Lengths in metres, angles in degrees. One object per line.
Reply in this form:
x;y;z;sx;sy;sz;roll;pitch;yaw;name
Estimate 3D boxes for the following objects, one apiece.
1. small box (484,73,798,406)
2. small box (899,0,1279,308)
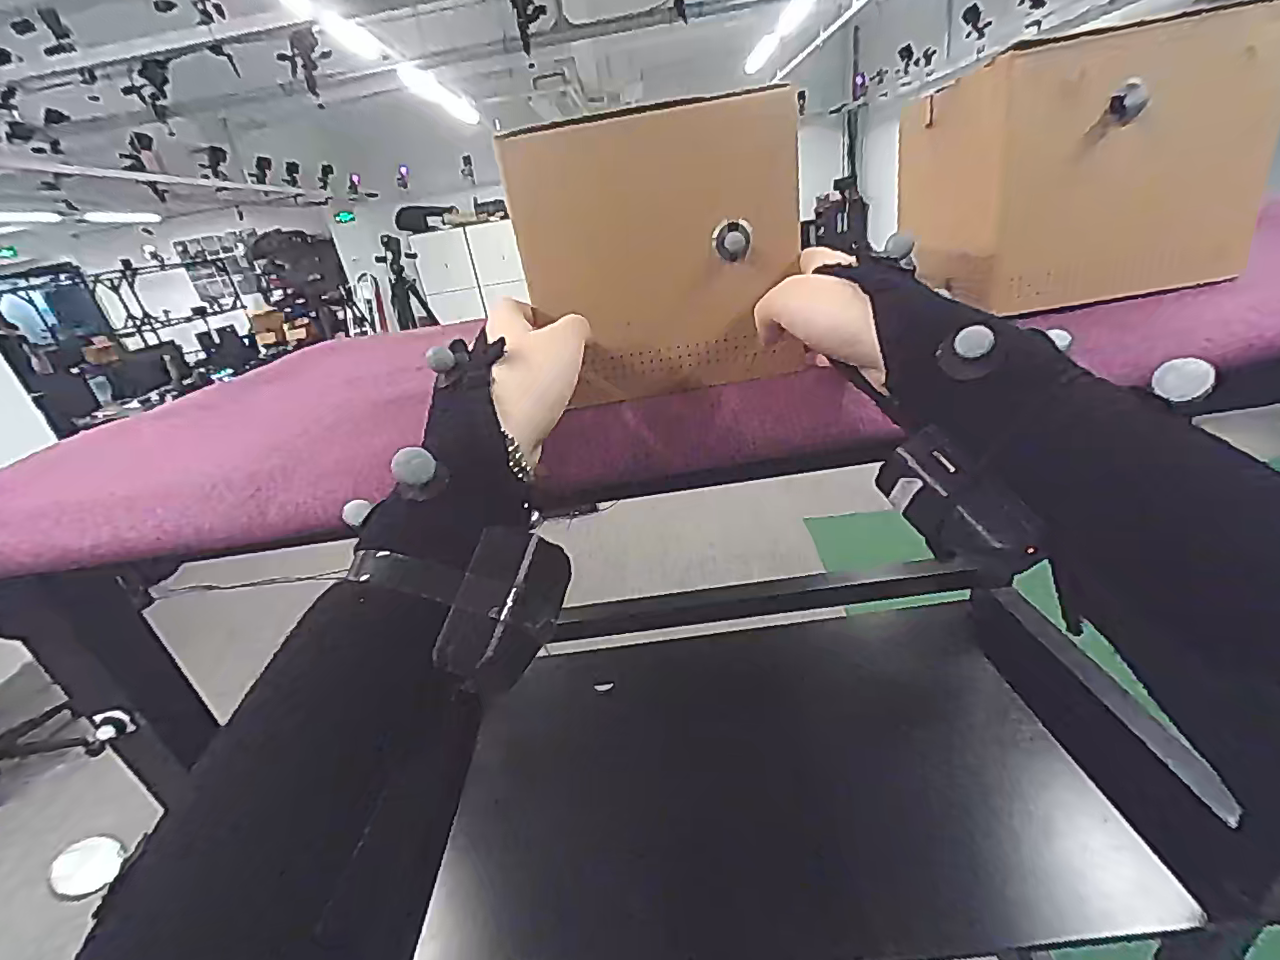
0.008;-0.168;0.400;0.179;0.176;0.168;-10;26;1;small box
0.324;-0.240;0.426;0.179;0.176;0.168;-8;25;4;small box
